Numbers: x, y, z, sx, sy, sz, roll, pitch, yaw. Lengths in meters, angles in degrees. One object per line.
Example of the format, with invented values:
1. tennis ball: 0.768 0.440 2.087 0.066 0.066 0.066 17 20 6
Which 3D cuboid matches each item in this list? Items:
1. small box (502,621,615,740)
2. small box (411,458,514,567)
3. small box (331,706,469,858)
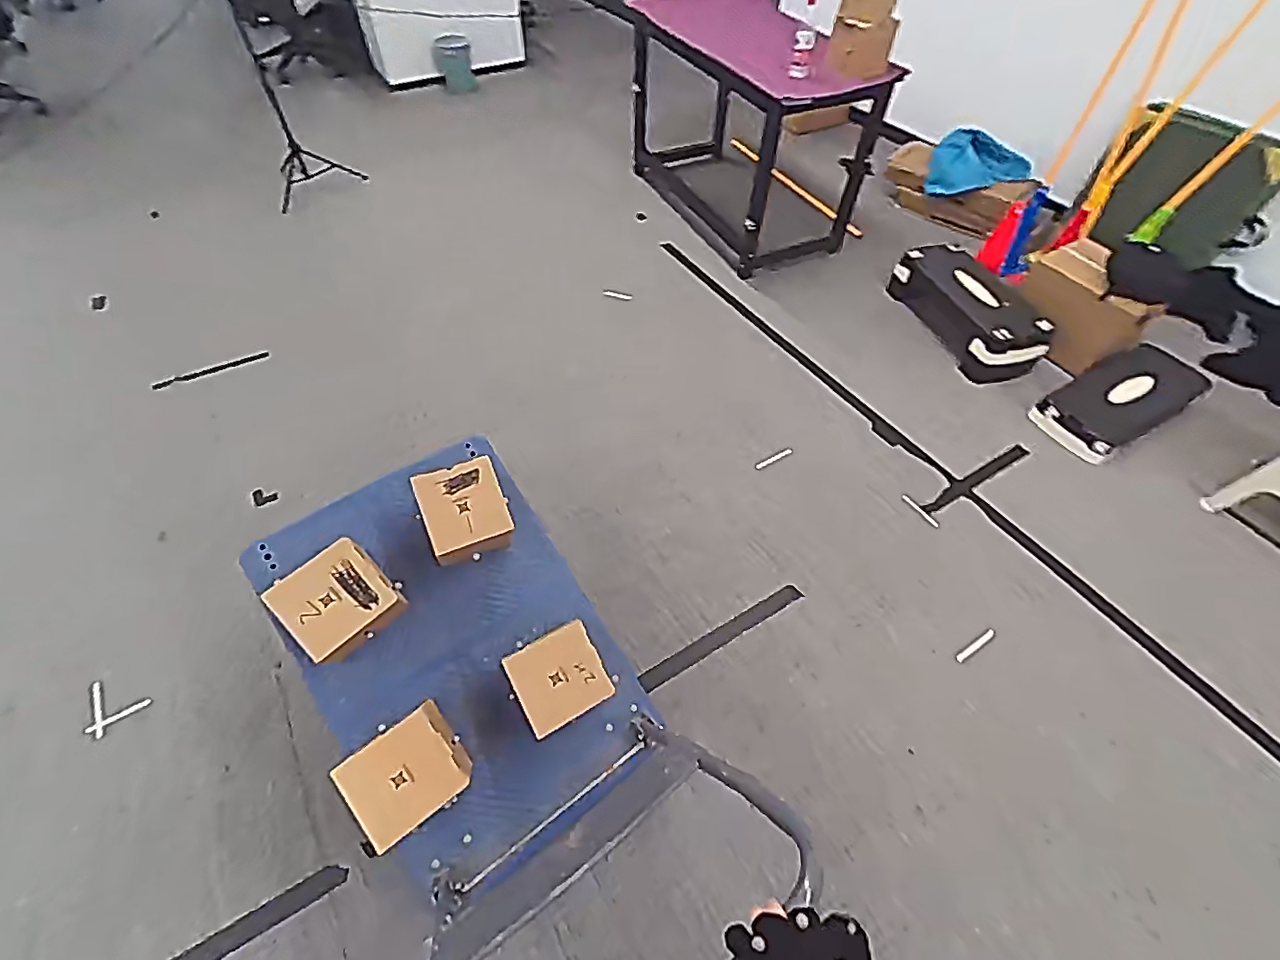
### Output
1. small box: -0.178 0.416 1.141 0.179 0.176 0.168 -25 82 -21
2. small box: -0.389 0.076 1.190 0.168 0.176 0.179 -20 80 -20
3. small box: -0.440 0.556 1.025 0.179 0.176 0.168 -34 84 -24
